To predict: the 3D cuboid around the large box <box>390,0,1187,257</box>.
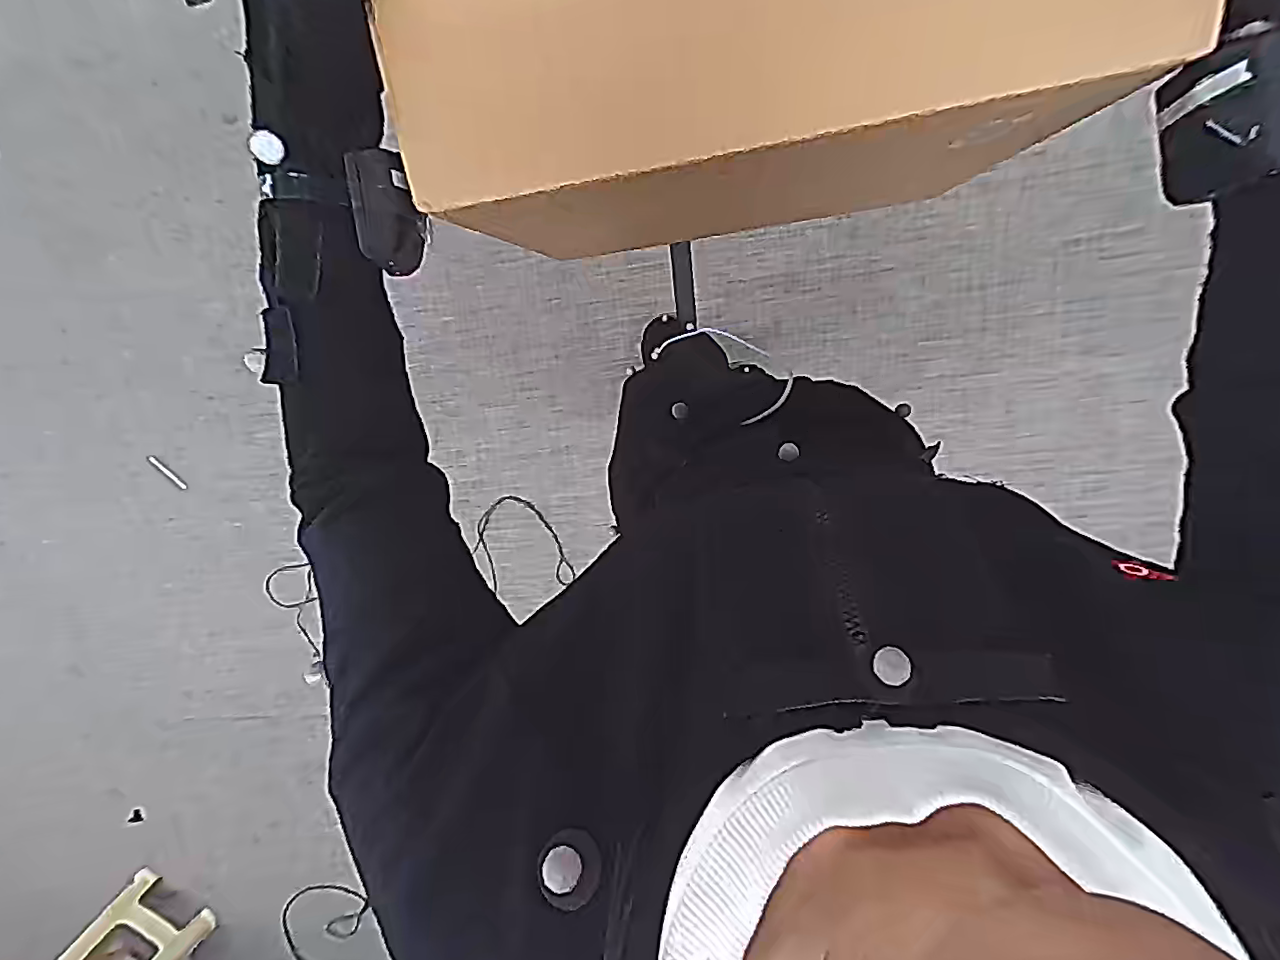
[{"bbox_3d":[0.063,-0.377,0.397,0.408,0.320,0.320,-7,107,8],"label":"large box"}]
